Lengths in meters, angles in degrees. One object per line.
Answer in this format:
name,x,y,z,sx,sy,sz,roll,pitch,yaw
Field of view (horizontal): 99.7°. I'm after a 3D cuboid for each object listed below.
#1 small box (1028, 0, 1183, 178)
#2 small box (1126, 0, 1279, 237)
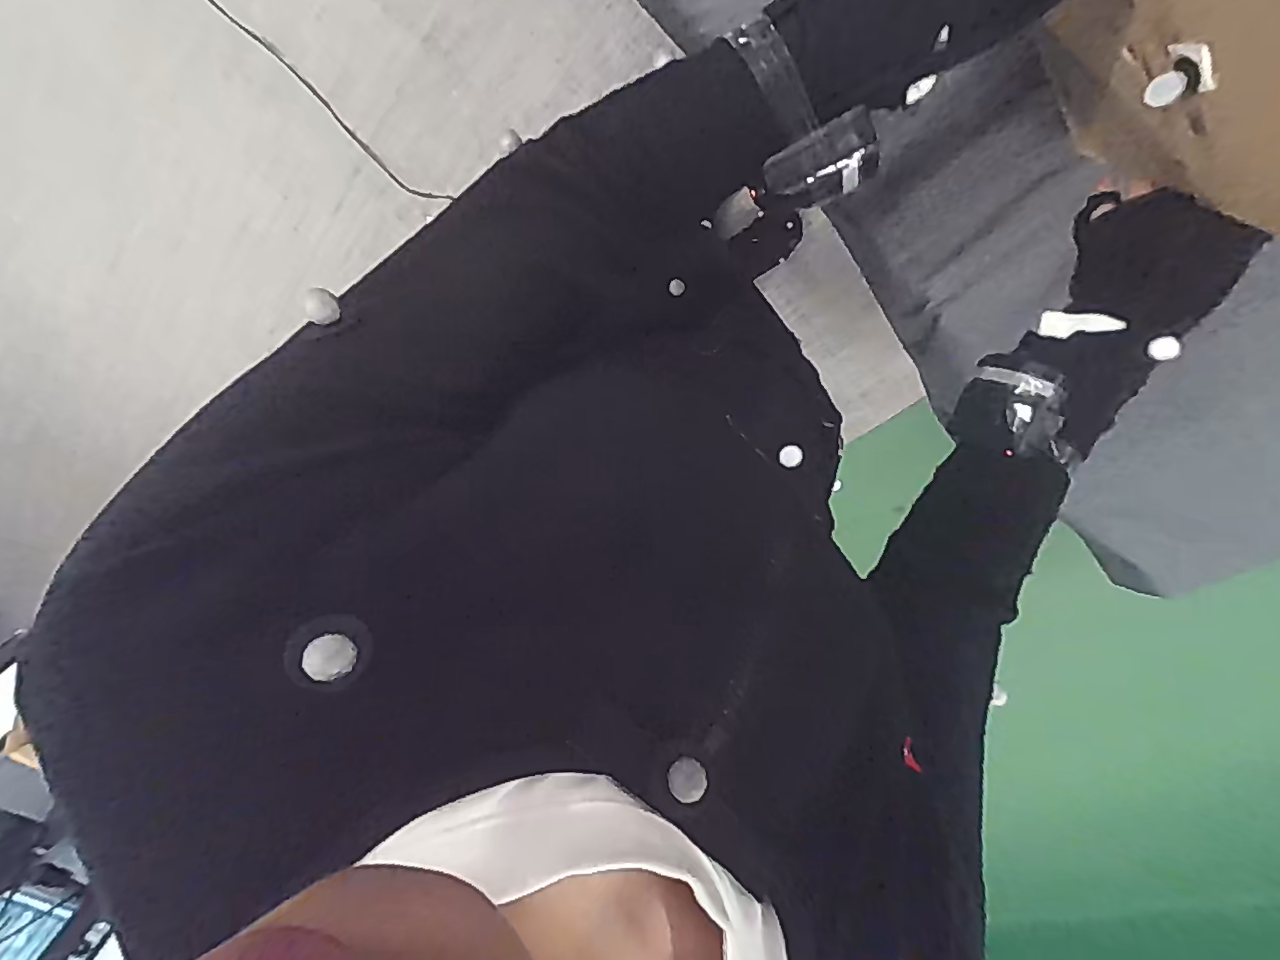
small box,0.365,-0.310,0.315,0.179,0.176,0.168,-32,117,30
small box,0.337,-0.206,0.194,0.179,0.176,0.168,-32,116,33
